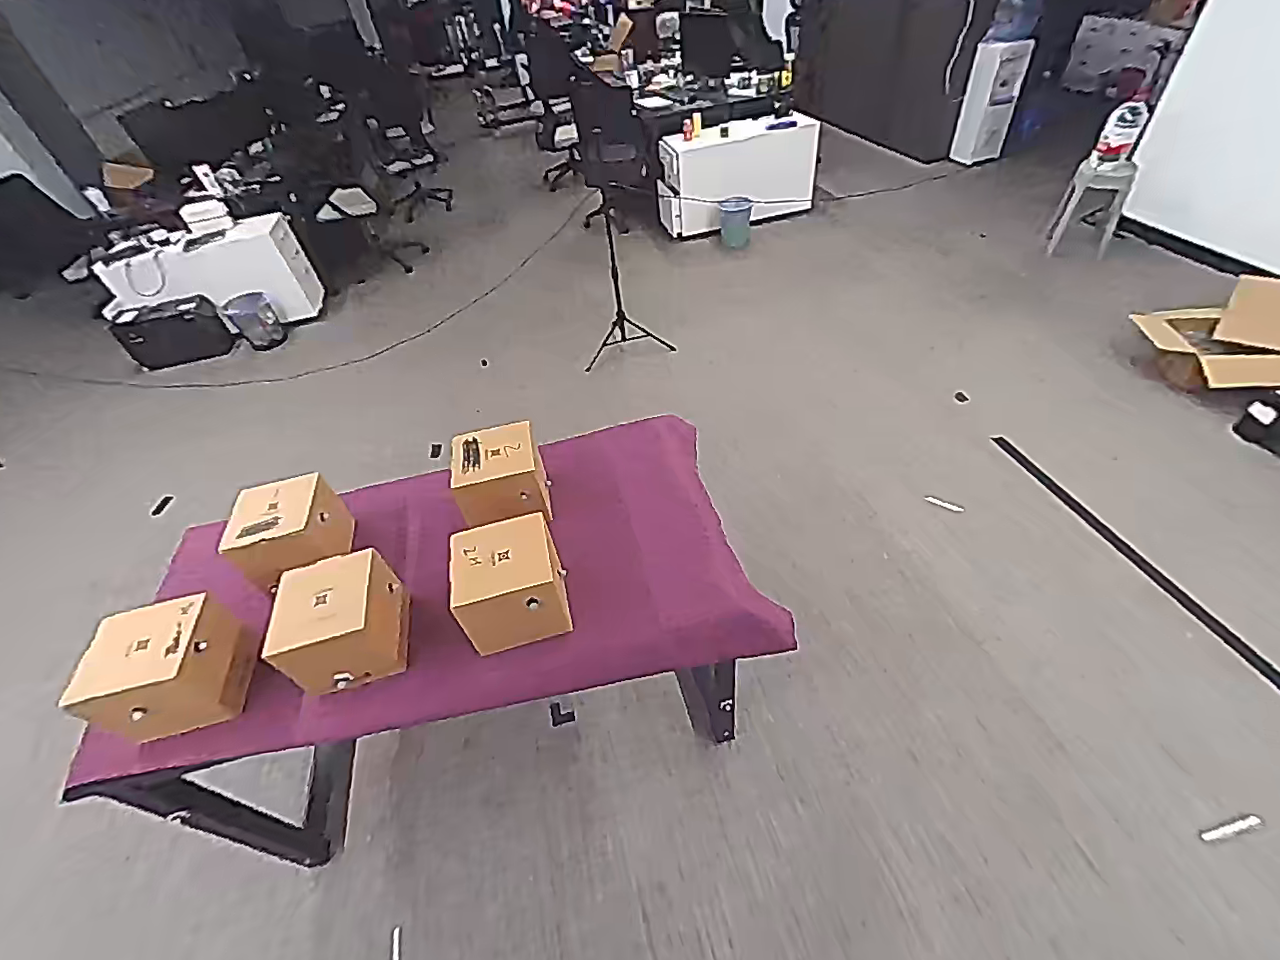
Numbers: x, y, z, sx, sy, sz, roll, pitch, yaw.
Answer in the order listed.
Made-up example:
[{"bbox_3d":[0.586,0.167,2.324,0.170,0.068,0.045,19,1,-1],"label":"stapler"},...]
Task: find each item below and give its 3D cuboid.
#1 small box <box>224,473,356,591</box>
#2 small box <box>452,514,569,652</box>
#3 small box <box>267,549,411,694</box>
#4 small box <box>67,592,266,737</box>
[{"bbox_3d":[-0.738,0.119,1.164,0.168,0.176,0.179,-14,45,-6],"label":"small box"},{"bbox_3d":[-0.236,0.193,1.009,0.179,0.176,0.168,-15,45,-5],"label":"small box"},{"bbox_3d":[-0.537,0.261,0.994,0.168,0.176,0.179,-15,47,-5],"label":"small box"},{"bbox_3d":[-0.822,0.332,0.964,0.179,0.176,0.168,-14,46,-5],"label":"small box"}]
